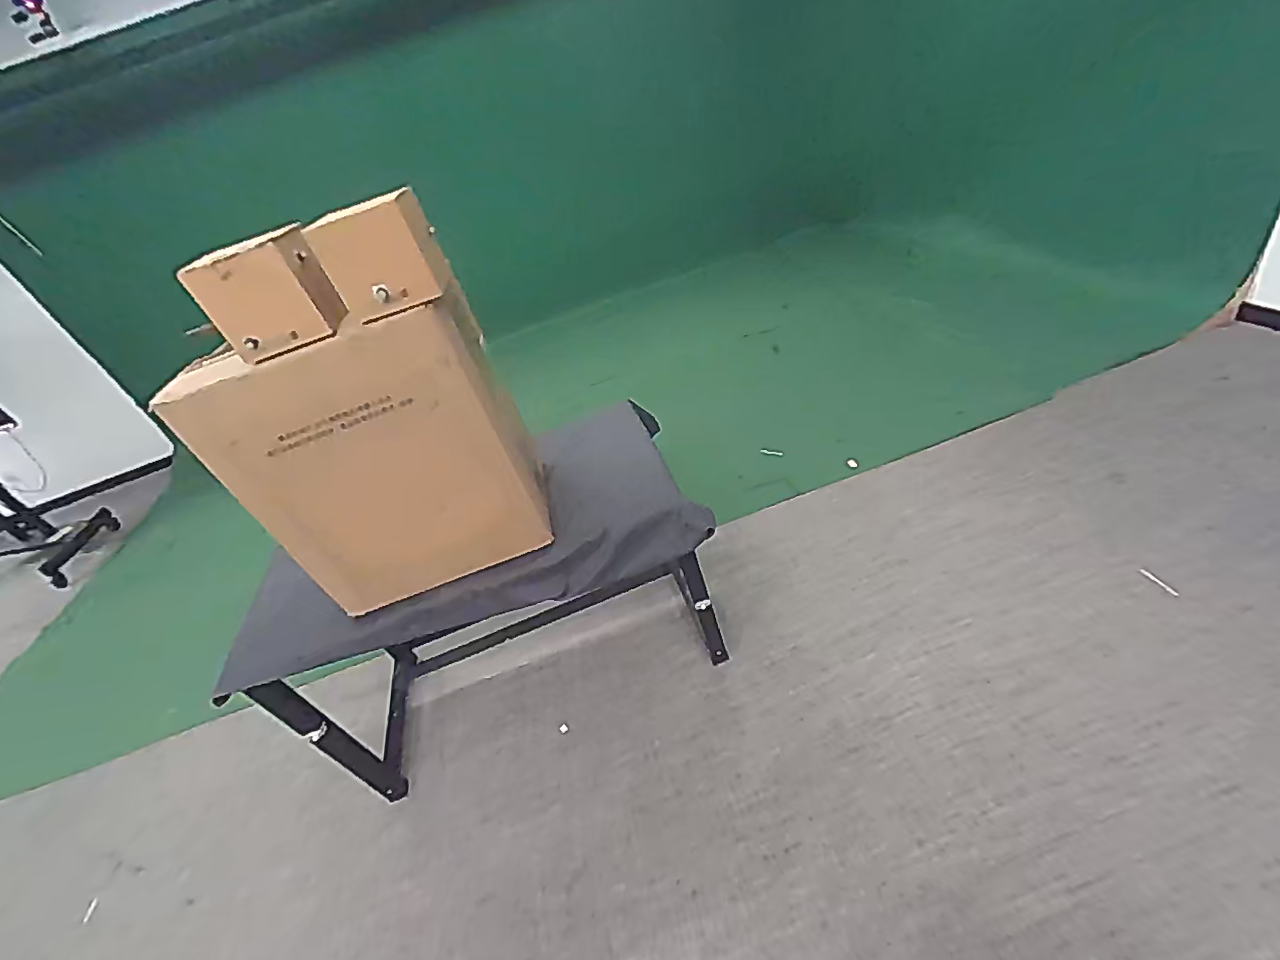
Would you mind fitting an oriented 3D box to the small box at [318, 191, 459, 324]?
[{"bbox_3d":[-0.452,-0.413,1.007,0.168,0.176,0.179,-20,37,0],"label":"small box"}]
